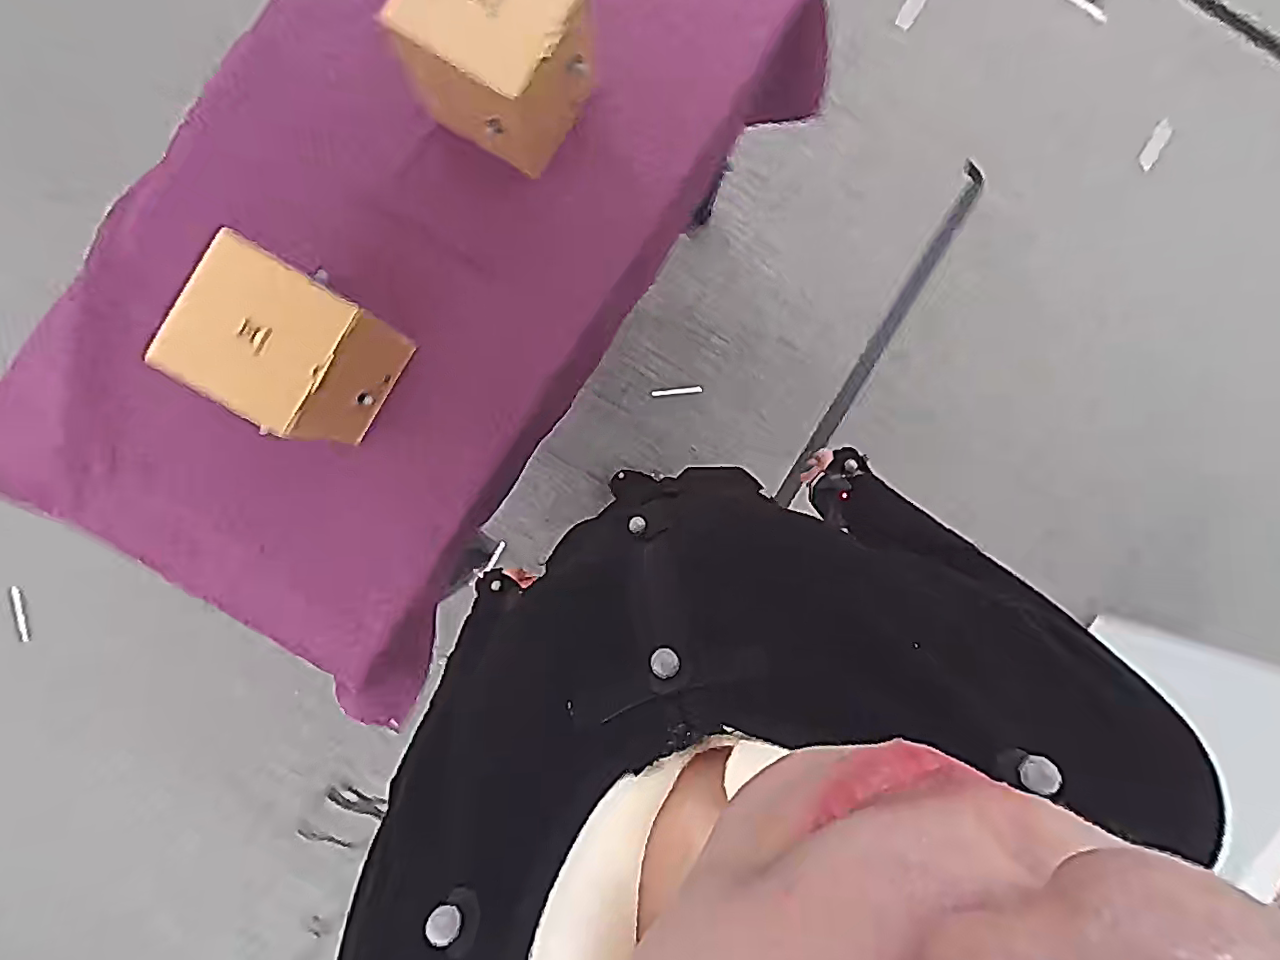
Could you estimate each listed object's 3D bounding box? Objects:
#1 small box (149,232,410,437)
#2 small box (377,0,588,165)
[{"bbox_3d":[-0.429,-0.164,0.677,0.179,0.176,0.168,30,90,-3],"label":"small box"},{"bbox_3d":[-0.178,-0.537,0.677,0.179,0.176,0.168,31,90,-2],"label":"small box"}]
